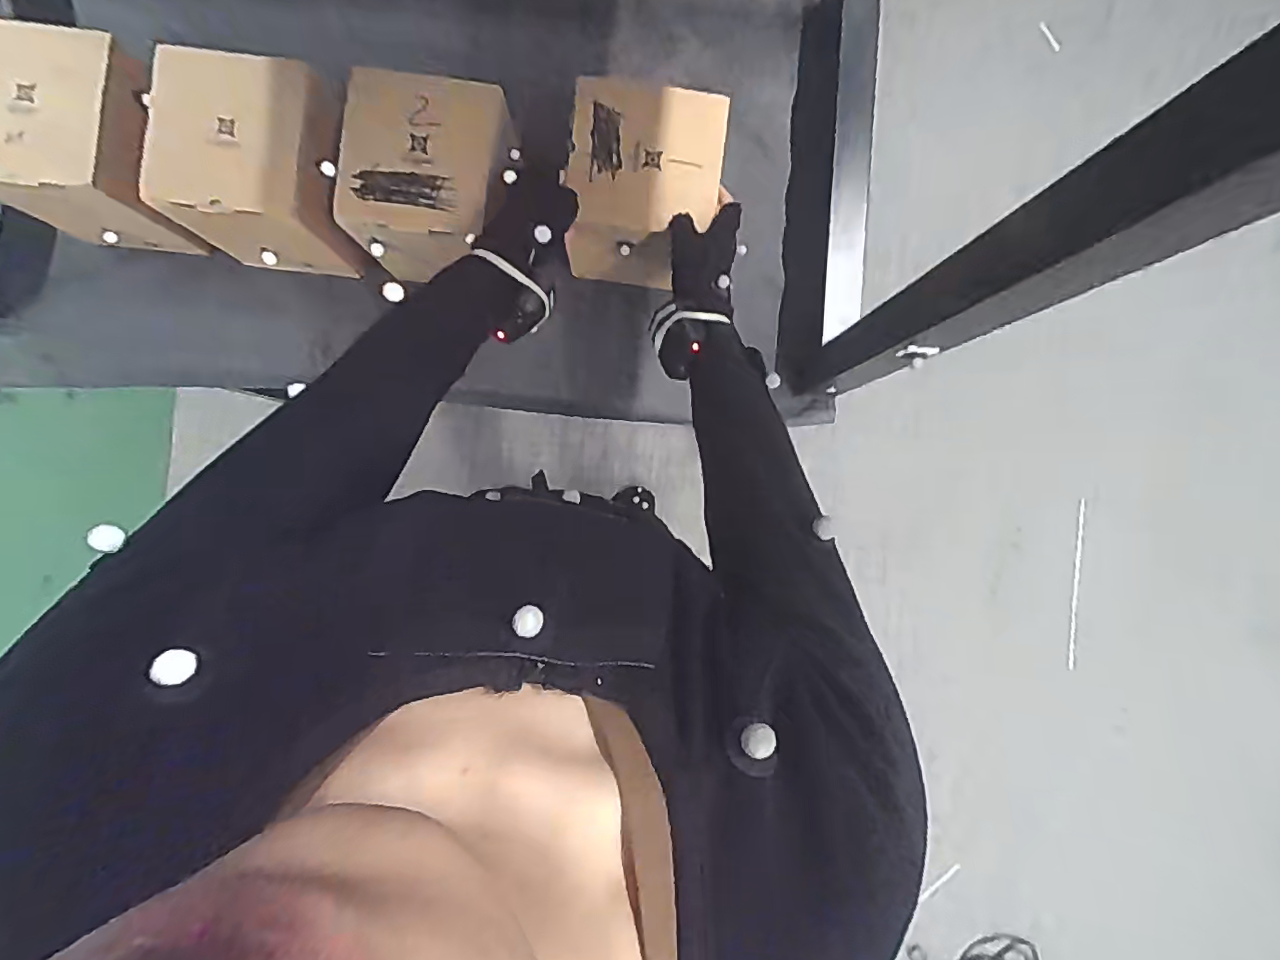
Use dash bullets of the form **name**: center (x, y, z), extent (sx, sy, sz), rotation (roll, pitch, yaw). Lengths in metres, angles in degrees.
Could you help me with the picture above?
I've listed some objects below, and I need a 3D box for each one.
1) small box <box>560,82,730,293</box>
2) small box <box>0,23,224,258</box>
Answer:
- **small box**: center (0.003, -0.355, 0.688), extent (0.179, 0.176, 0.168), rotation (7, 89, -3)
- **small box**: center (-0.657, -0.402, 0.665), extent (0.168, 0.176, 0.179), rotation (5, 88, -2)
